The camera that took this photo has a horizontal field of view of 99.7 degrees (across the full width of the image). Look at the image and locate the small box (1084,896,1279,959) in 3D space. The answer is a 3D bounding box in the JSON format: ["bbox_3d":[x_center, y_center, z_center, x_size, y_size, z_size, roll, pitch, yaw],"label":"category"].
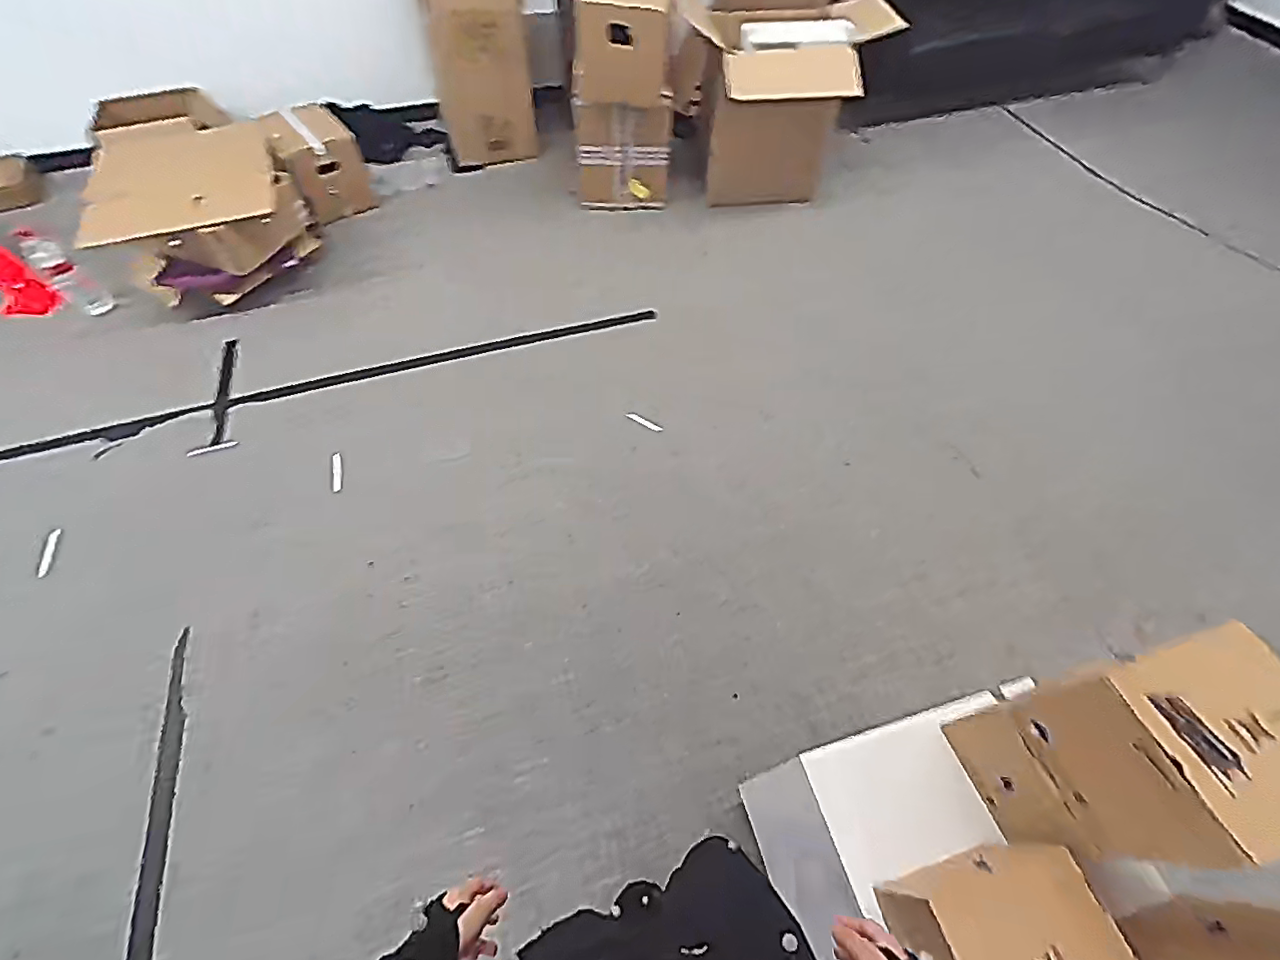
[{"bbox_3d":[0.630,0.569,0.572,0.179,0.176,0.168,-13,57,-8],"label":"small box"}]

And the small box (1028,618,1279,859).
[{"bbox_3d":[0.557,0.272,0.566,0.179,0.176,0.168,-16,59,-10],"label":"small box"}]
